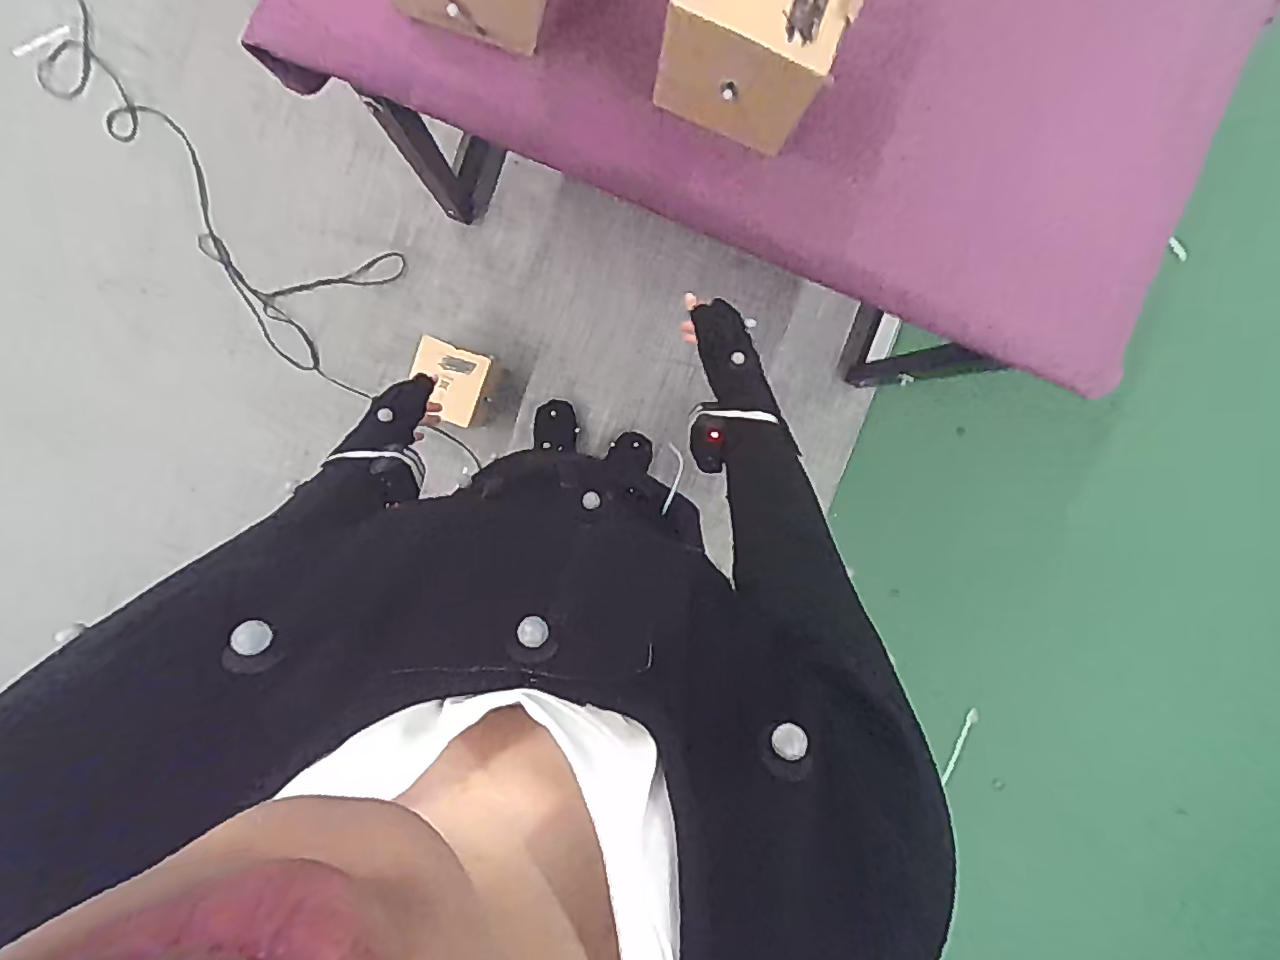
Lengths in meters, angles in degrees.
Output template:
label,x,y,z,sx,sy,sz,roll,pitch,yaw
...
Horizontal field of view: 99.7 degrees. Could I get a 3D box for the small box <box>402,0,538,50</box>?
label,x,y,z,sx,sy,sz,roll,pitch,yaw
small box,-0.190,-0.632,0.584,0.168,0.176,0.179,15,94,-7
